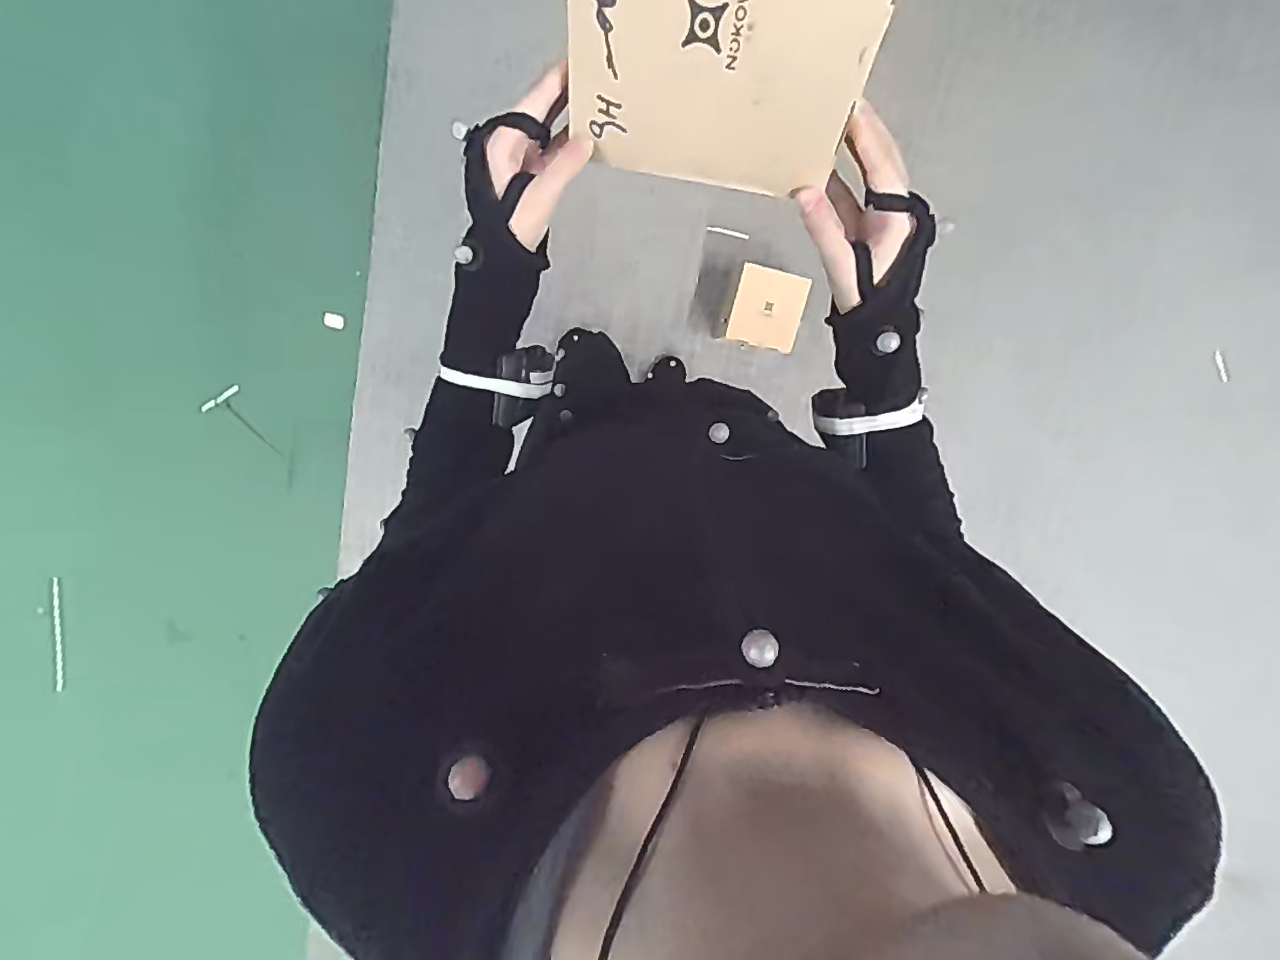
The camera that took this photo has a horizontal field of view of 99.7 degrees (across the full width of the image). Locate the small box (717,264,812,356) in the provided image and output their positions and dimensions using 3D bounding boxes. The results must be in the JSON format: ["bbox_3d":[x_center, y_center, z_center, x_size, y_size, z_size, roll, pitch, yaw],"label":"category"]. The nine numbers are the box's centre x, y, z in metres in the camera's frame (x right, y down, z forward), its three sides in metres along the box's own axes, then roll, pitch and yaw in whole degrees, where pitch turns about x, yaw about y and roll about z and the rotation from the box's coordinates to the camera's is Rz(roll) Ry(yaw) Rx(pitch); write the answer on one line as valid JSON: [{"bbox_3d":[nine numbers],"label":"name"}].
[{"bbox_3d":[0.299,-0.415,1.339,0.168,0.176,0.179,13,103,-4],"label":"small box"}]

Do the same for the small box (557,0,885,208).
[{"bbox_3d":[0.050,-0.310,0.349,0.179,0.176,0.168,11,145,1],"label":"small box"}]
